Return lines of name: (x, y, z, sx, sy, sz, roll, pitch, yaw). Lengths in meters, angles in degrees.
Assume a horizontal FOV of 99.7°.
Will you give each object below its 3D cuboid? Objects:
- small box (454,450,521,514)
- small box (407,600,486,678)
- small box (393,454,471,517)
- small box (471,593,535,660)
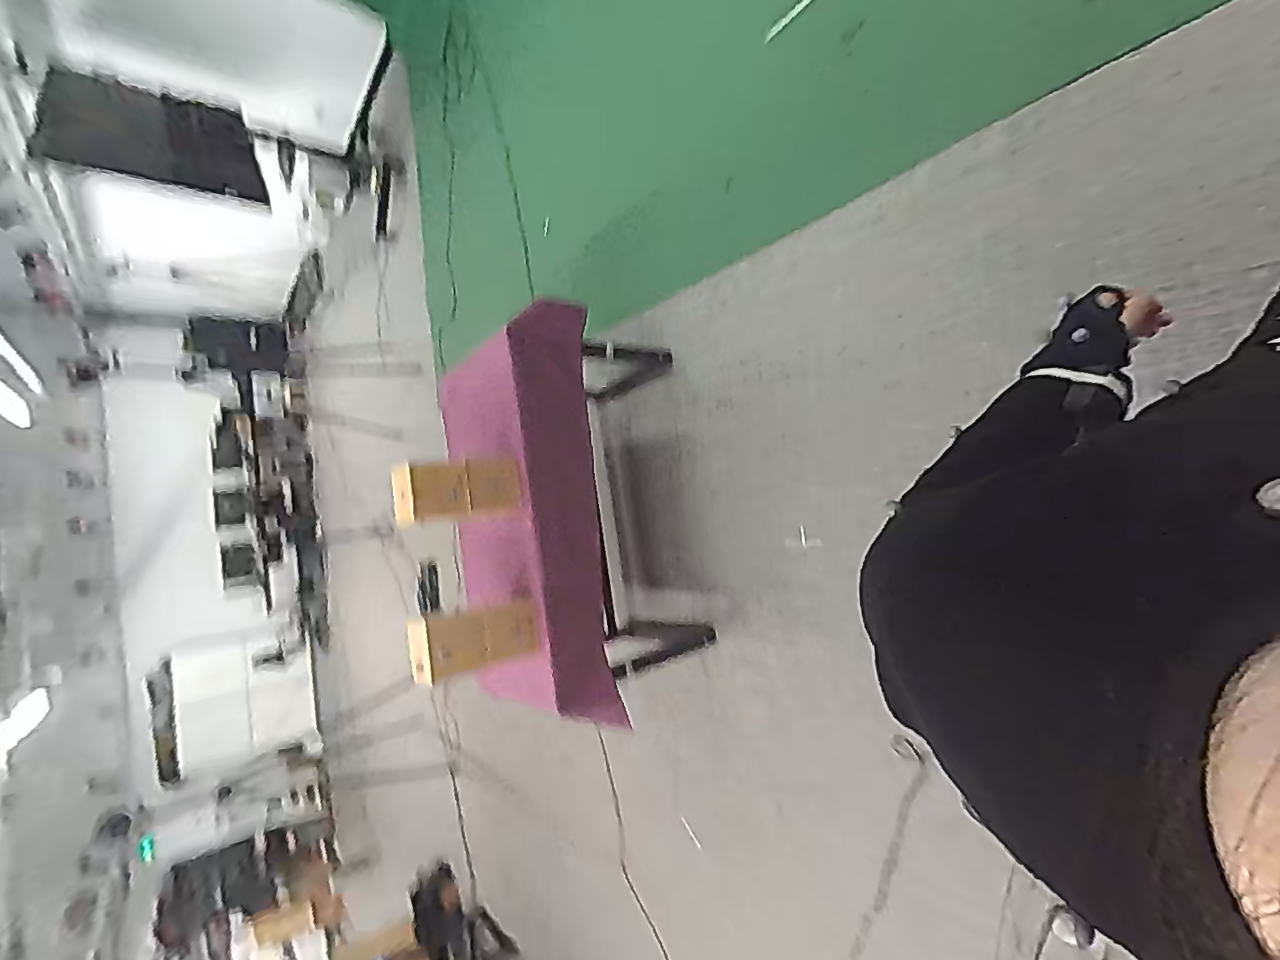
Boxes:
small box: (-0.490, 0.004, 1.708, 0.168, 0.176, 0.179, -14, 83, 49)
small box: (-0.561, 0.457, 1.575, 0.168, 0.176, 0.179, -13, 82, 49)
small box: (-0.619, 0.017, 1.608, 0.179, 0.176, 0.168, -12, 84, 49)
small box: (-0.436, 0.447, 1.681, 0.179, 0.176, 0.168, -13, 82, 50)
